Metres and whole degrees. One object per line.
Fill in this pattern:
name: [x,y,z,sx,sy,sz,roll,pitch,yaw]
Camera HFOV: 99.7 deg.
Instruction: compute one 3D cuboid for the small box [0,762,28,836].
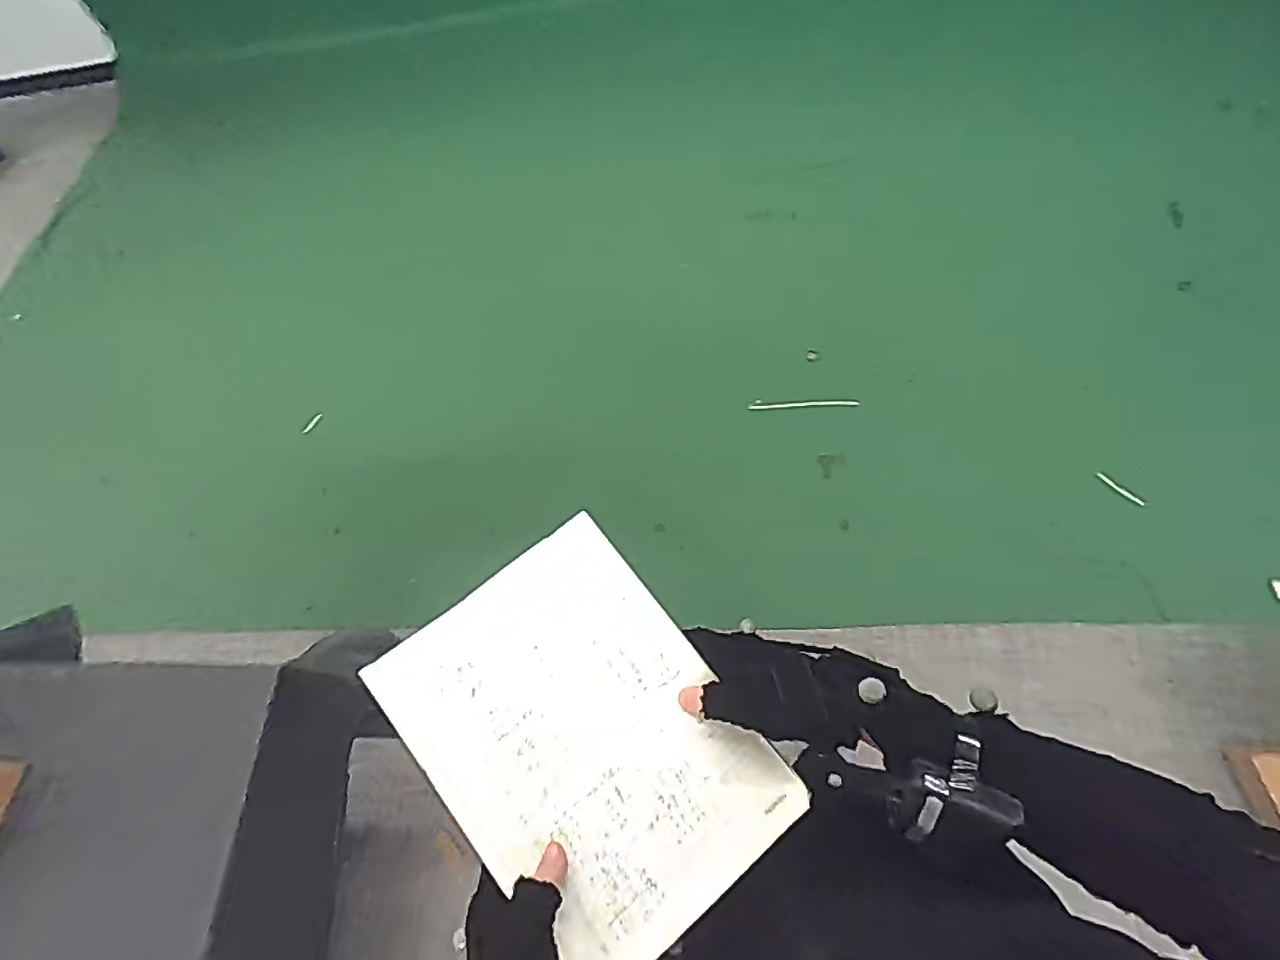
small box: [-0.914,0.422,0.631,0.179,0.176,0.168,0,66,8]
